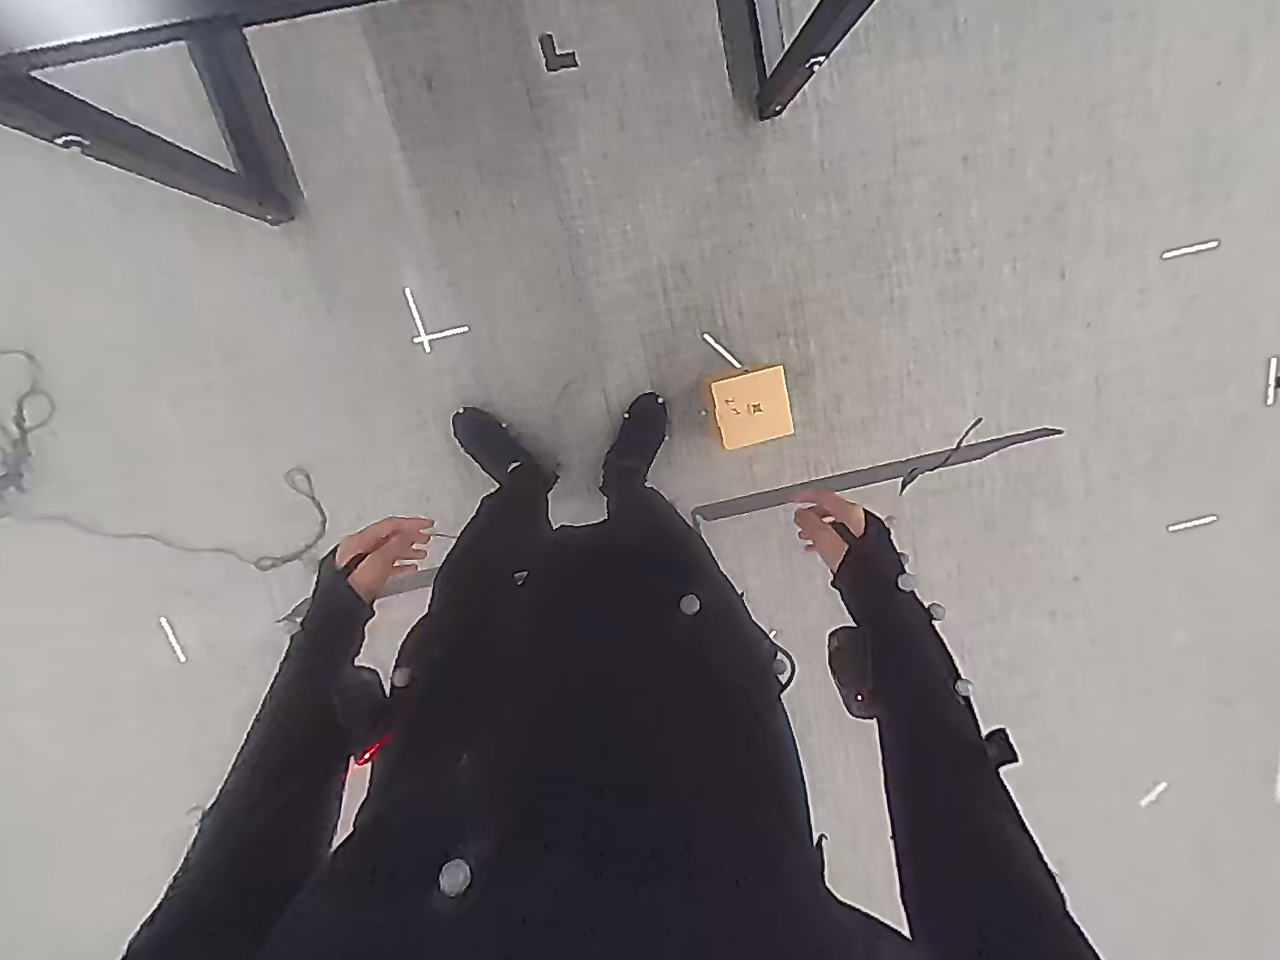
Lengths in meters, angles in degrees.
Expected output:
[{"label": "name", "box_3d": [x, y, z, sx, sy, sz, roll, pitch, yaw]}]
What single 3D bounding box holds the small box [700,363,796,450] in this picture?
[{"label": "small box", "box_3d": [0.261, -0.187, 1.333, 0.179, 0.176, 0.168, -14, 105, -1]}]
